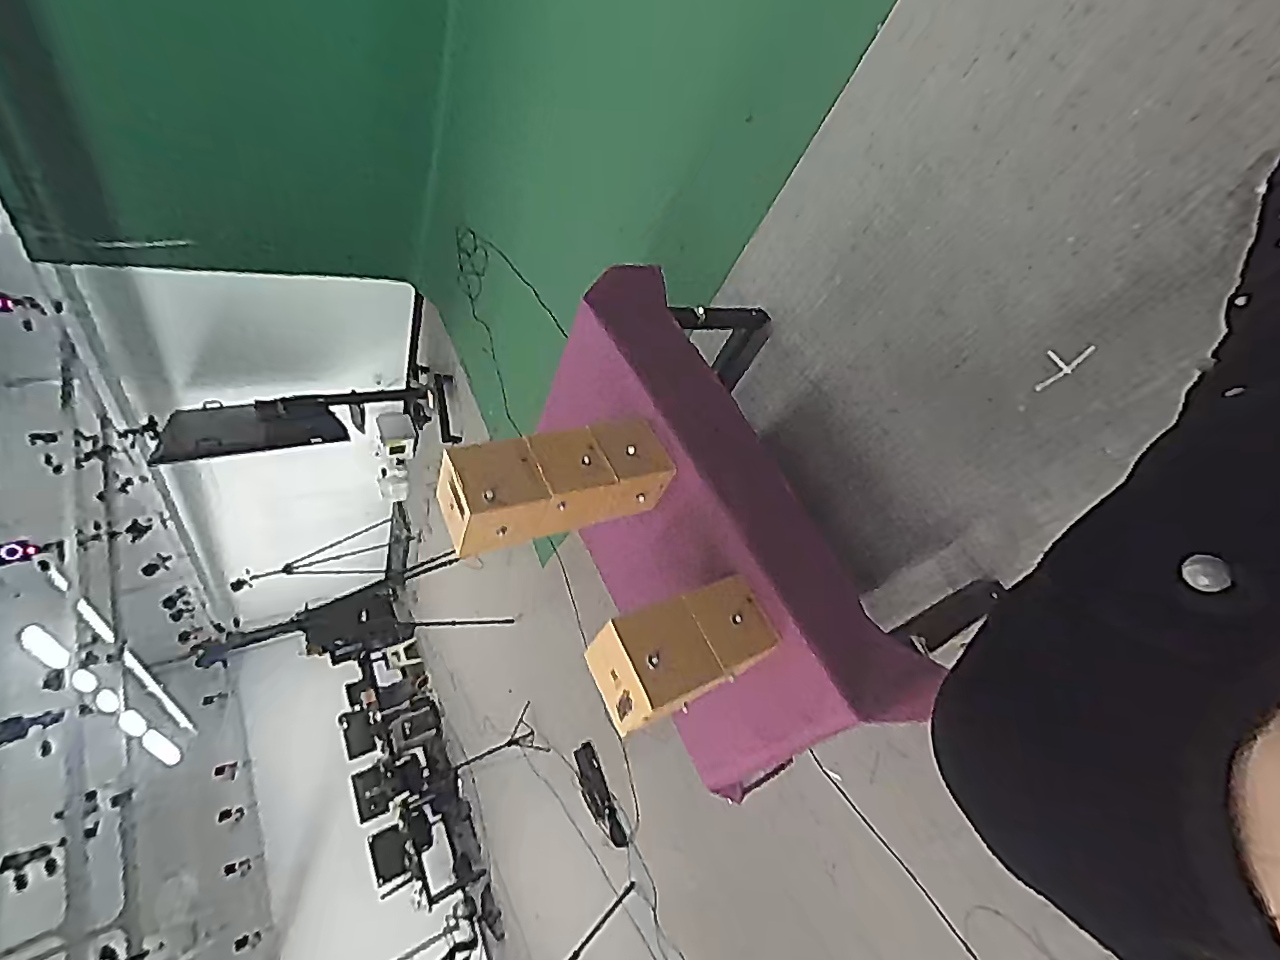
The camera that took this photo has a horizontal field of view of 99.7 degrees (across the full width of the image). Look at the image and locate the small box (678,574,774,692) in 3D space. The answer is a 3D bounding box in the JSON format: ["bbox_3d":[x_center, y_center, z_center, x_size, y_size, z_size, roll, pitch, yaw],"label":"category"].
[{"bbox_3d":[0.156,0.320,1.138,0.168,0.176,0.179,61,142,26],"label":"small box"}]

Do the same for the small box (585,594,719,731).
[{"bbox_3d":[0.023,0.347,1.045,0.179,0.176,0.168,60,141,26],"label":"small box"}]

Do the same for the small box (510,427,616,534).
[{"bbox_3d":[-0.177,-0.001,1.236,0.168,0.176,0.179,60,141,25],"label":"small box"}]

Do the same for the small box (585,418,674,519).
[{"bbox_3d":[-0.044,-0.035,1.324,0.179,0.176,0.168,59,141,26],"label":"small box"}]
